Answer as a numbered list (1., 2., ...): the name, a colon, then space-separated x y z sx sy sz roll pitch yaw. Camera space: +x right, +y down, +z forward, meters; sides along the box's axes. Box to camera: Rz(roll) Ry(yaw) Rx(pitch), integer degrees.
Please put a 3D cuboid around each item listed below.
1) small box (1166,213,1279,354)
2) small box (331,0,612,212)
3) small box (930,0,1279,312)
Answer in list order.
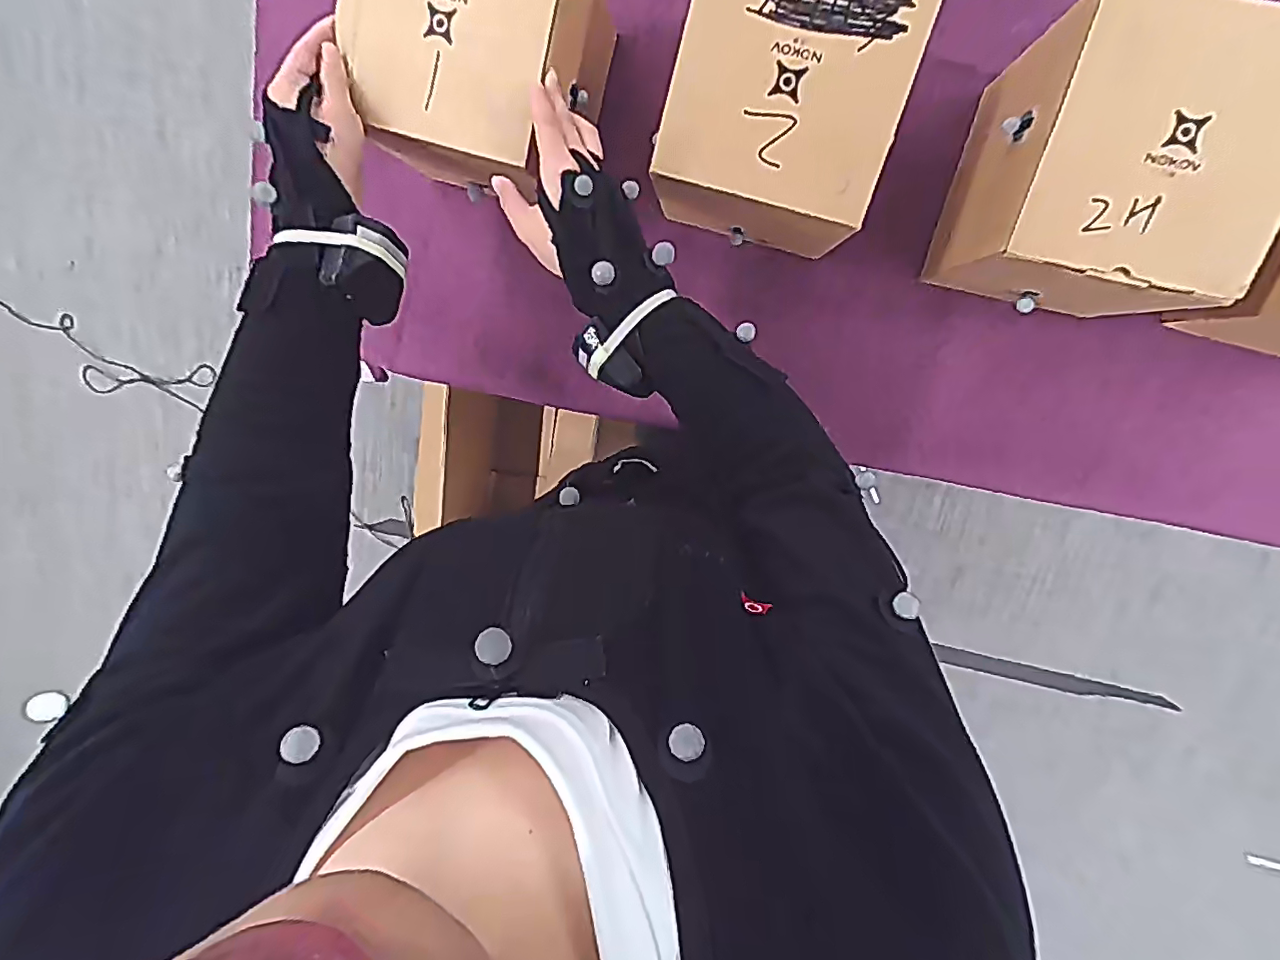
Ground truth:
1. small box: 0.604 -0.189 0.429 0.179 0.176 0.168 17 104 3
2. small box: -0.129 -0.362 0.470 0.168 0.176 0.179 17 106 2
3. small box: 0.371 -0.247 0.441 0.168 0.176 0.179 15 105 4
